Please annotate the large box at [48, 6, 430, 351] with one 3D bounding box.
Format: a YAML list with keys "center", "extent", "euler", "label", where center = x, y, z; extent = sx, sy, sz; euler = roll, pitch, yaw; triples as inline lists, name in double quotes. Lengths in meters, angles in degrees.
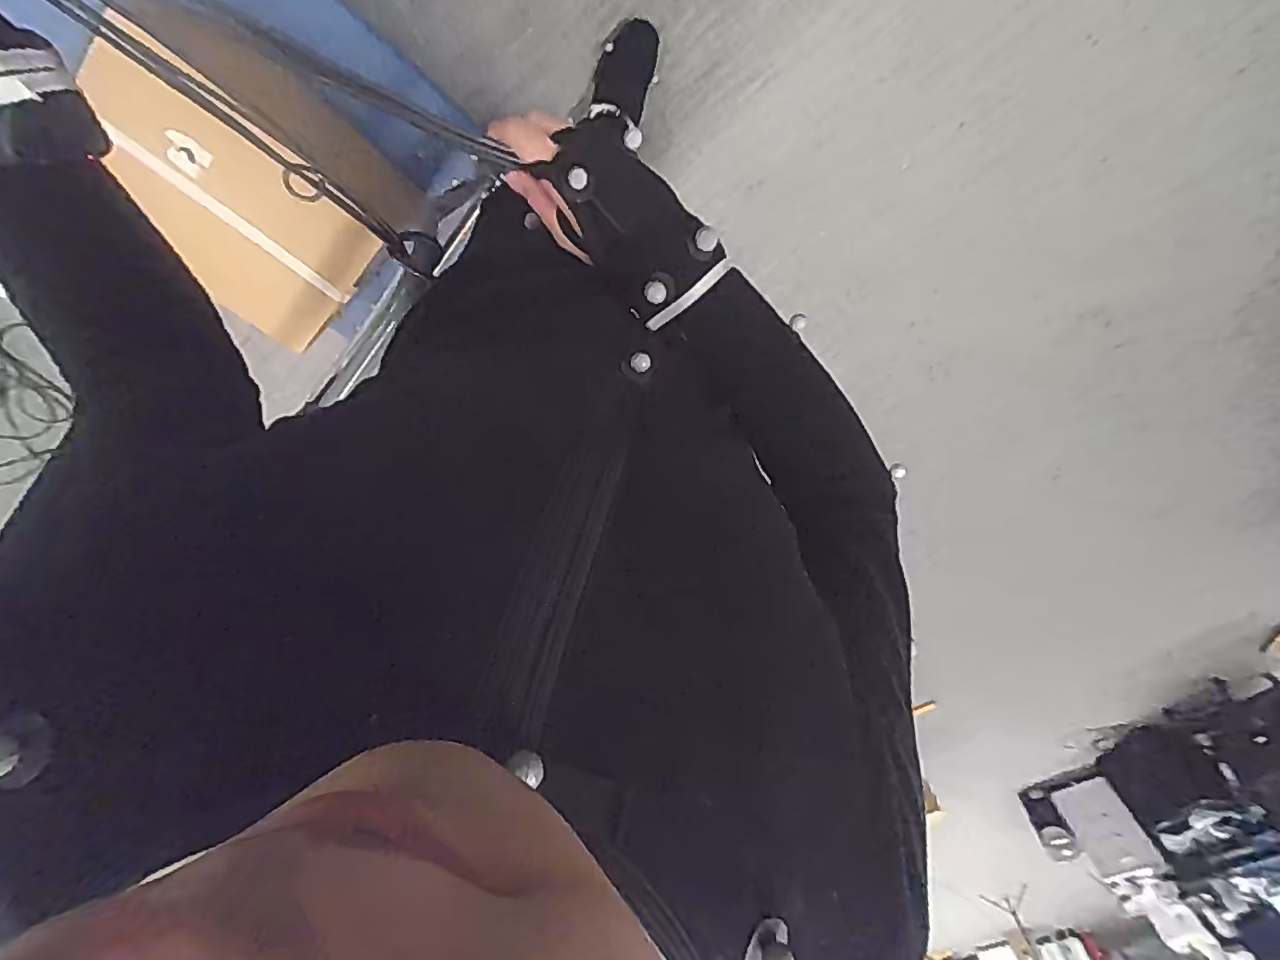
- center: [-0.662, -0.519, 0.971]
  extent: [0.320, 0.320, 0.408]
  euler: [-39, 122, 21]
  label: "large box"
